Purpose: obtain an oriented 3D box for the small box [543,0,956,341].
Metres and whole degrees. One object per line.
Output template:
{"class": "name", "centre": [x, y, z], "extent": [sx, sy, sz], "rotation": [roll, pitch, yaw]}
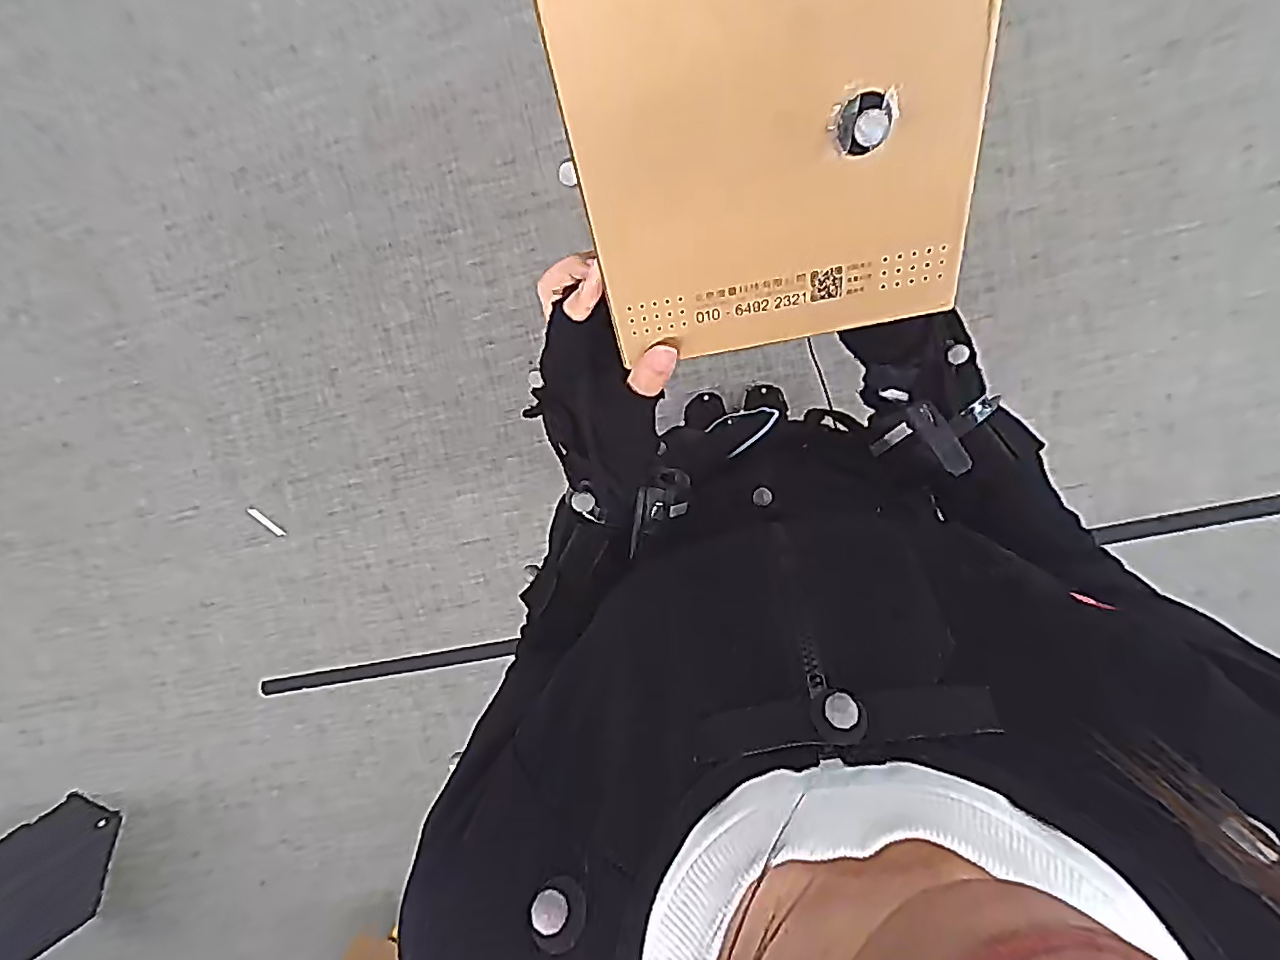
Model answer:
{"class": "small box", "centre": [0.060, -0.192, 0.310], "extent": [0.168, 0.179, 0.176], "rotation": [-8, 128, 8]}
